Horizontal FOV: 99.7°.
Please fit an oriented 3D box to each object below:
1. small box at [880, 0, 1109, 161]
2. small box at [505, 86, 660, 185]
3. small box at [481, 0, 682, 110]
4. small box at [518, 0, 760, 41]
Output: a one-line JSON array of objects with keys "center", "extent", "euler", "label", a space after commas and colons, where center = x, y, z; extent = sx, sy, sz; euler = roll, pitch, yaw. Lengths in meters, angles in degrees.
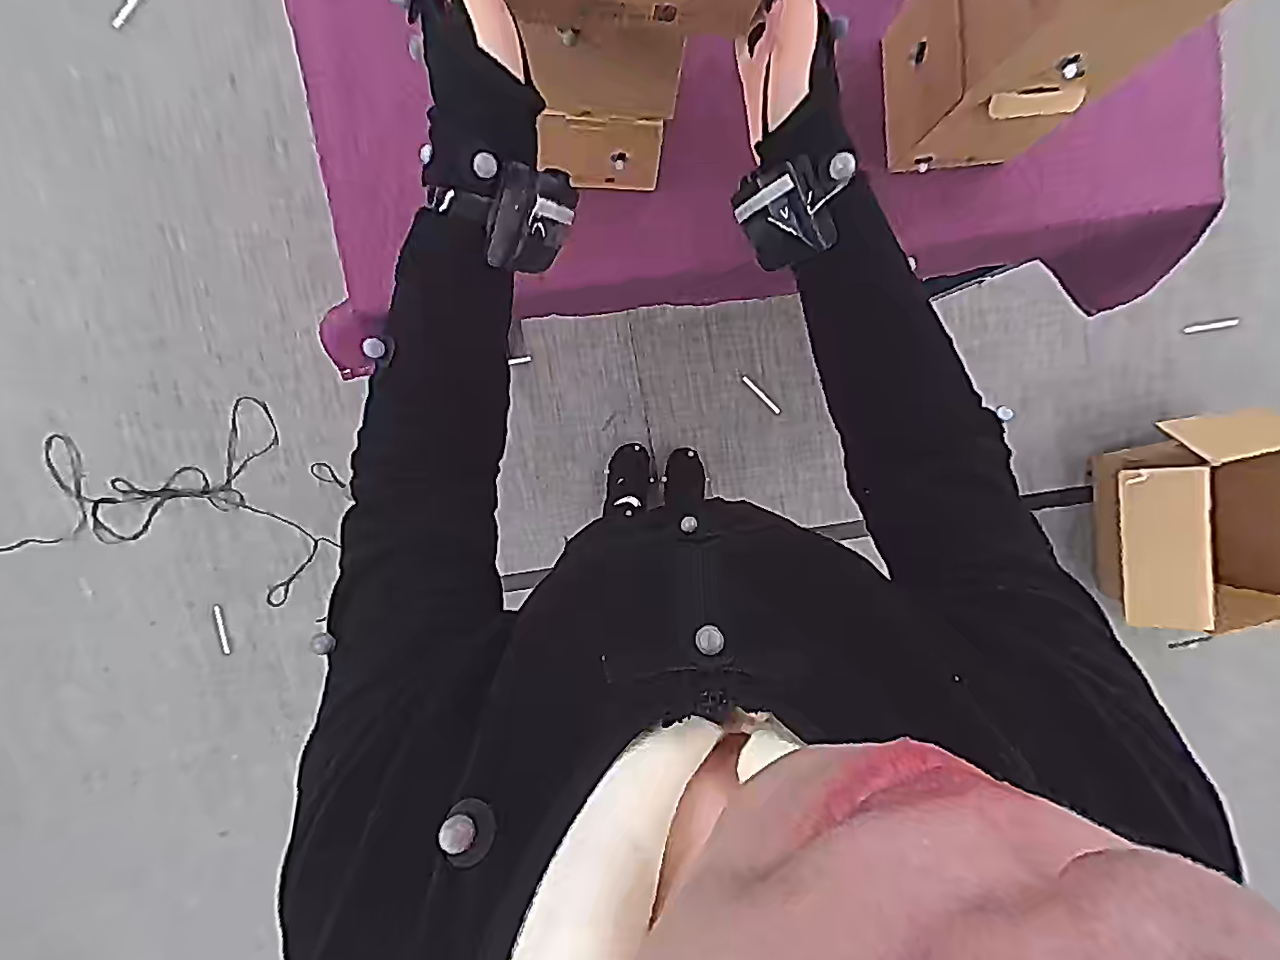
[{"center": [0.406, -0.506, 0.644], "extent": [0.168, 0.176, 0.179], "euler": [-6, 95, -1], "label": "small box"}, {"center": [-0.057, -0.472, 0.635], "extent": [0.168, 0.176, 0.179], "euler": [2, 95, -3], "label": "small box"}, {"center": [-0.045, -0.458, 0.472], "extent": [0.179, 0.176, 0.168], "euler": [3, 97, -3], "label": "small box"}, {"center": [0.003, -0.378, 0.274], "extent": [0.168, 0.176, 0.179], "euler": [-1, 100, -6], "label": "small box"}]
